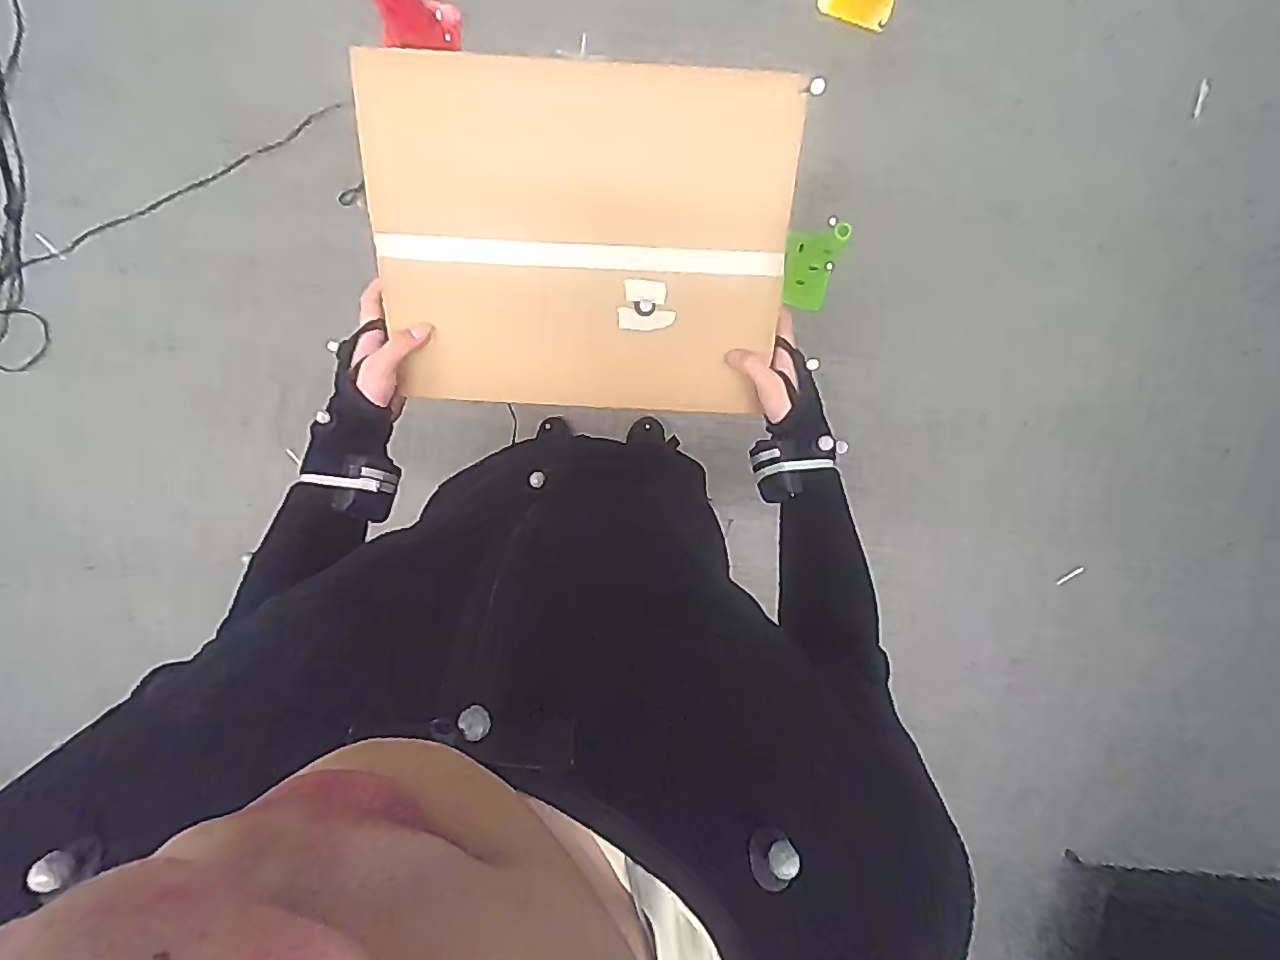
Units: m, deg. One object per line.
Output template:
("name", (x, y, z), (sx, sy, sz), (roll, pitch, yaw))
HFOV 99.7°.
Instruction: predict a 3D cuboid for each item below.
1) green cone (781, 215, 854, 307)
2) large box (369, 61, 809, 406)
("green cone", (0.457, -0.592, 1.387), (0.200, 0.368, 0.202), (12, 97, -4))
("large box", (-0.052, -0.287, 0.680), (0.408, 0.320, 0.320), (2, 115, -2))
